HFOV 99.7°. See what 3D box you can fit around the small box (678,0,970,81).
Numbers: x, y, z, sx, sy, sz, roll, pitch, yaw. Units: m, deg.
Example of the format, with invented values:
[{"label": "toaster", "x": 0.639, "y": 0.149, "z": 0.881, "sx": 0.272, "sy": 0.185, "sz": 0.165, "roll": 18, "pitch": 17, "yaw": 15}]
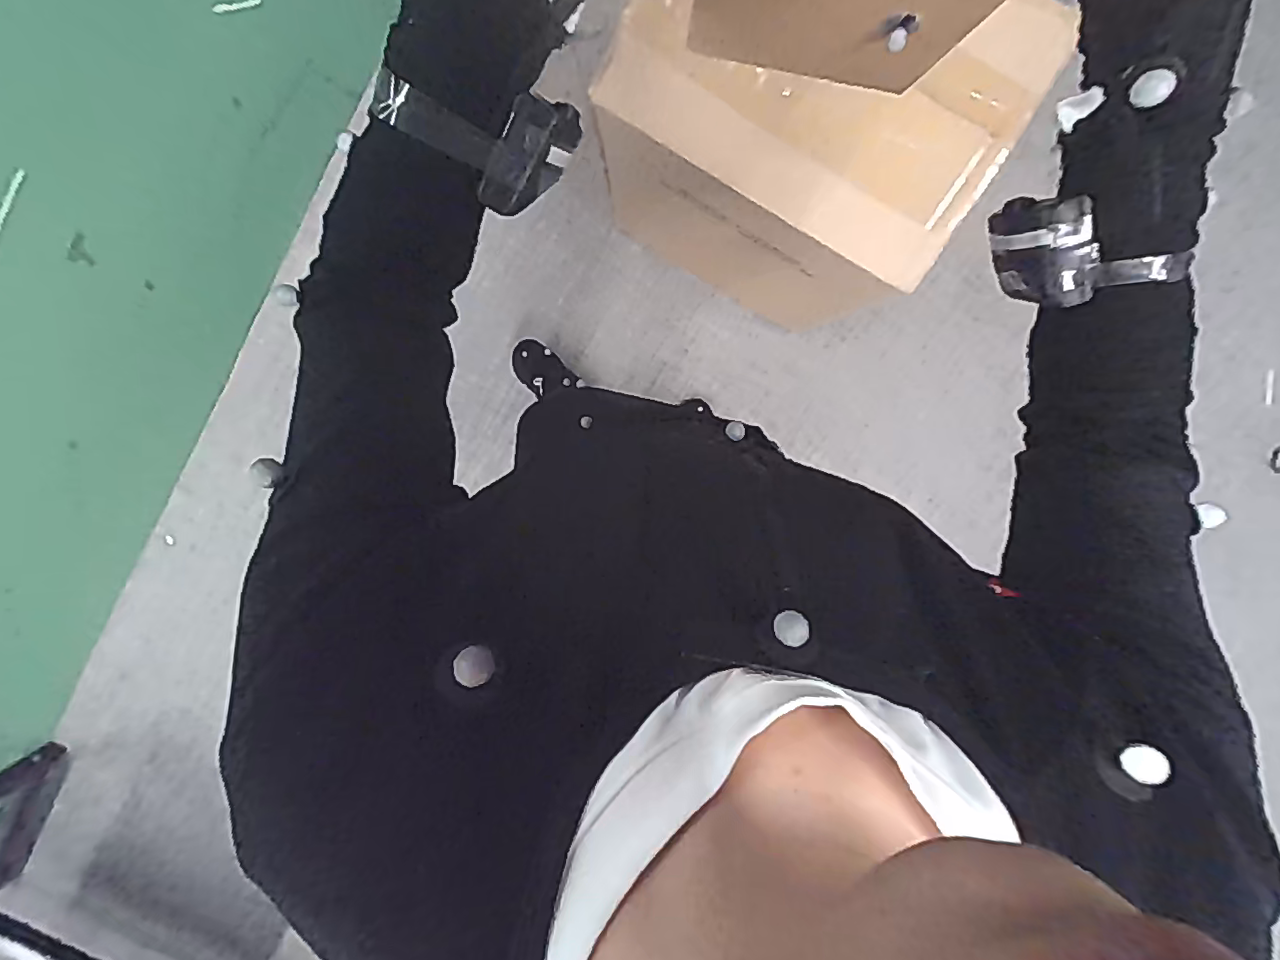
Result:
[{"label": "small box", "x": 0.124, "y": -0.375, "z": 0.324, "sx": 0.179, "sy": 0.176, "sz": 0.168, "roll": 8, "pitch": 104, "yaw": -1}]
